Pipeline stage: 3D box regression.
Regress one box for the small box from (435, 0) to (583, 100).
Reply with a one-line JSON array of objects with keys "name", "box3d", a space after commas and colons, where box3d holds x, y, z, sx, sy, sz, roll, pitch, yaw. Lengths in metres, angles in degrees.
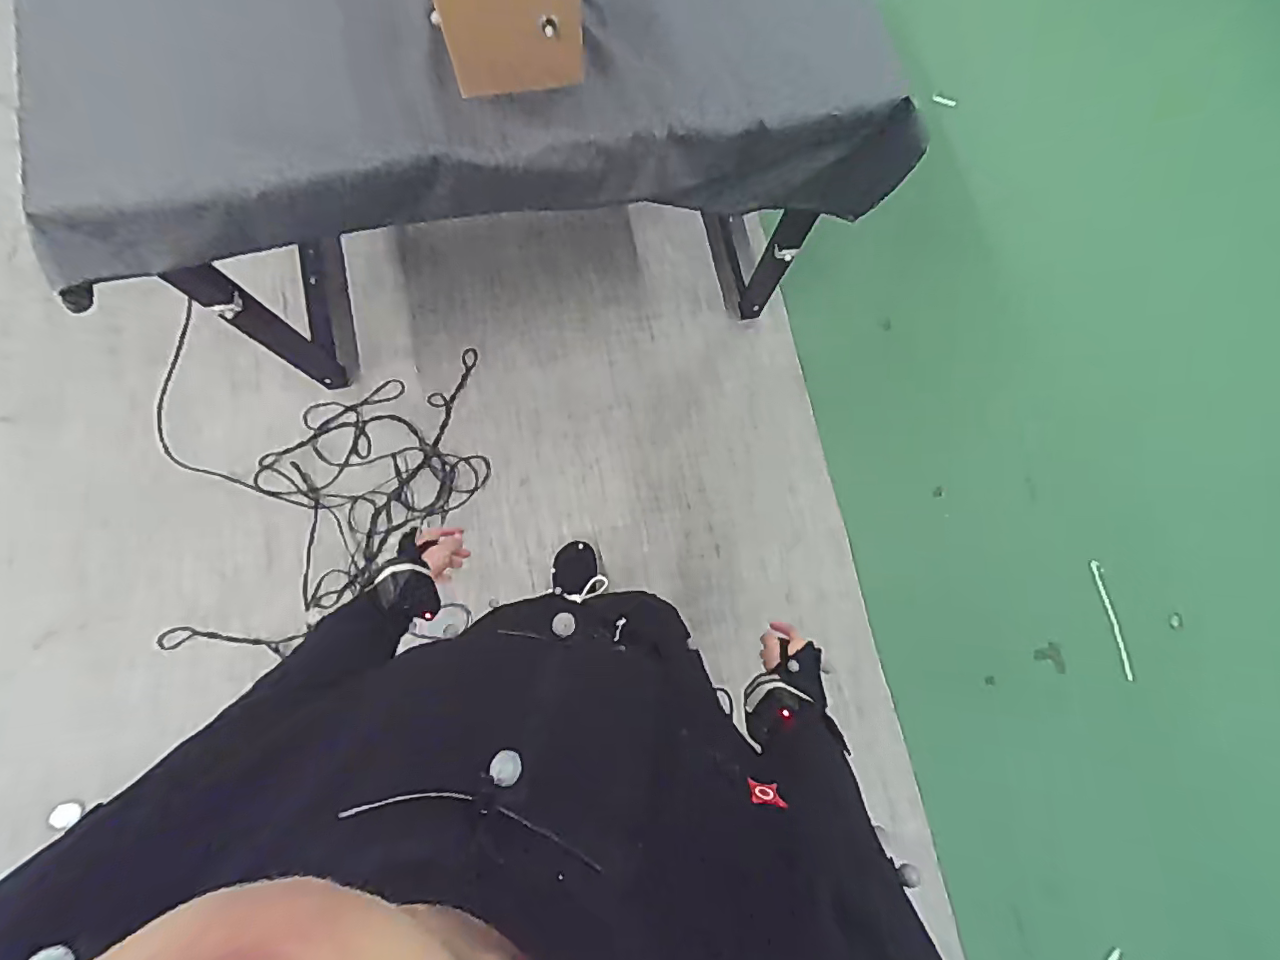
[{"name": "small box", "box3d": [-0.172, -0.636, 0.698, 0.179, 0.176, 0.168, -12, 79, -5]}]
